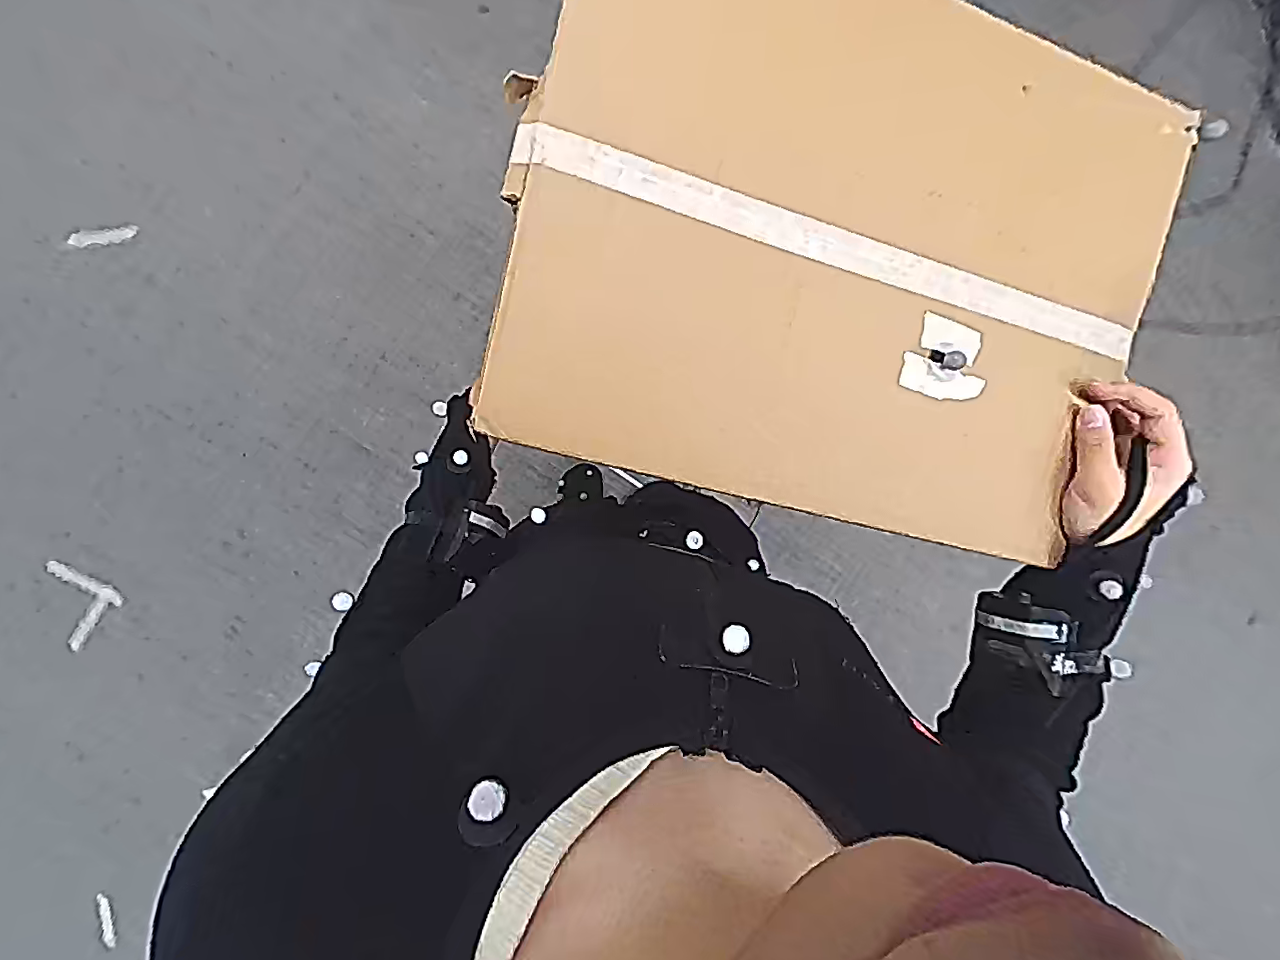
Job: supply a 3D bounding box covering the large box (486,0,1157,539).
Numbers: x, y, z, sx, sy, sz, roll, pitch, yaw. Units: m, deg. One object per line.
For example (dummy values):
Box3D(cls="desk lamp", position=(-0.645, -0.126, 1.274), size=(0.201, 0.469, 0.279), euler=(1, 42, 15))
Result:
Box3D(cls="large box", position=(0.100, -0.159, 0.479), size=(0.408, 0.320, 0.320), euler=(12, 96, -13))
